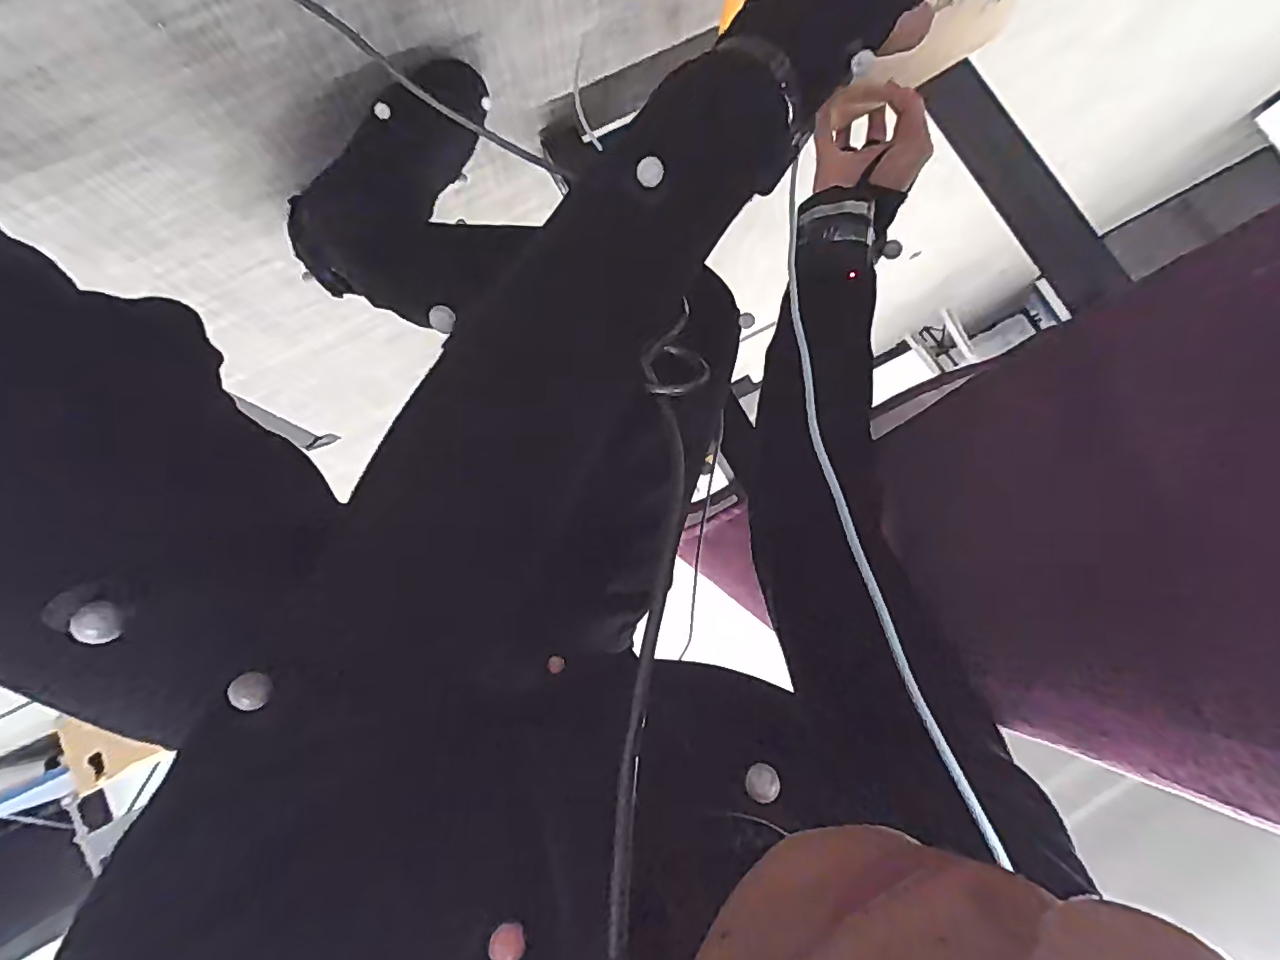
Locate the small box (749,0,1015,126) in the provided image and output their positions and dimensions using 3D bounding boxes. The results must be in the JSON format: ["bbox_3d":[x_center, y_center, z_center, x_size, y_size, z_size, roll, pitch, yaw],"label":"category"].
[{"bbox_3d":[0.205,-0.451,0.439,0.179,0.176,0.168,-29,169,1],"label":"small box"}]
